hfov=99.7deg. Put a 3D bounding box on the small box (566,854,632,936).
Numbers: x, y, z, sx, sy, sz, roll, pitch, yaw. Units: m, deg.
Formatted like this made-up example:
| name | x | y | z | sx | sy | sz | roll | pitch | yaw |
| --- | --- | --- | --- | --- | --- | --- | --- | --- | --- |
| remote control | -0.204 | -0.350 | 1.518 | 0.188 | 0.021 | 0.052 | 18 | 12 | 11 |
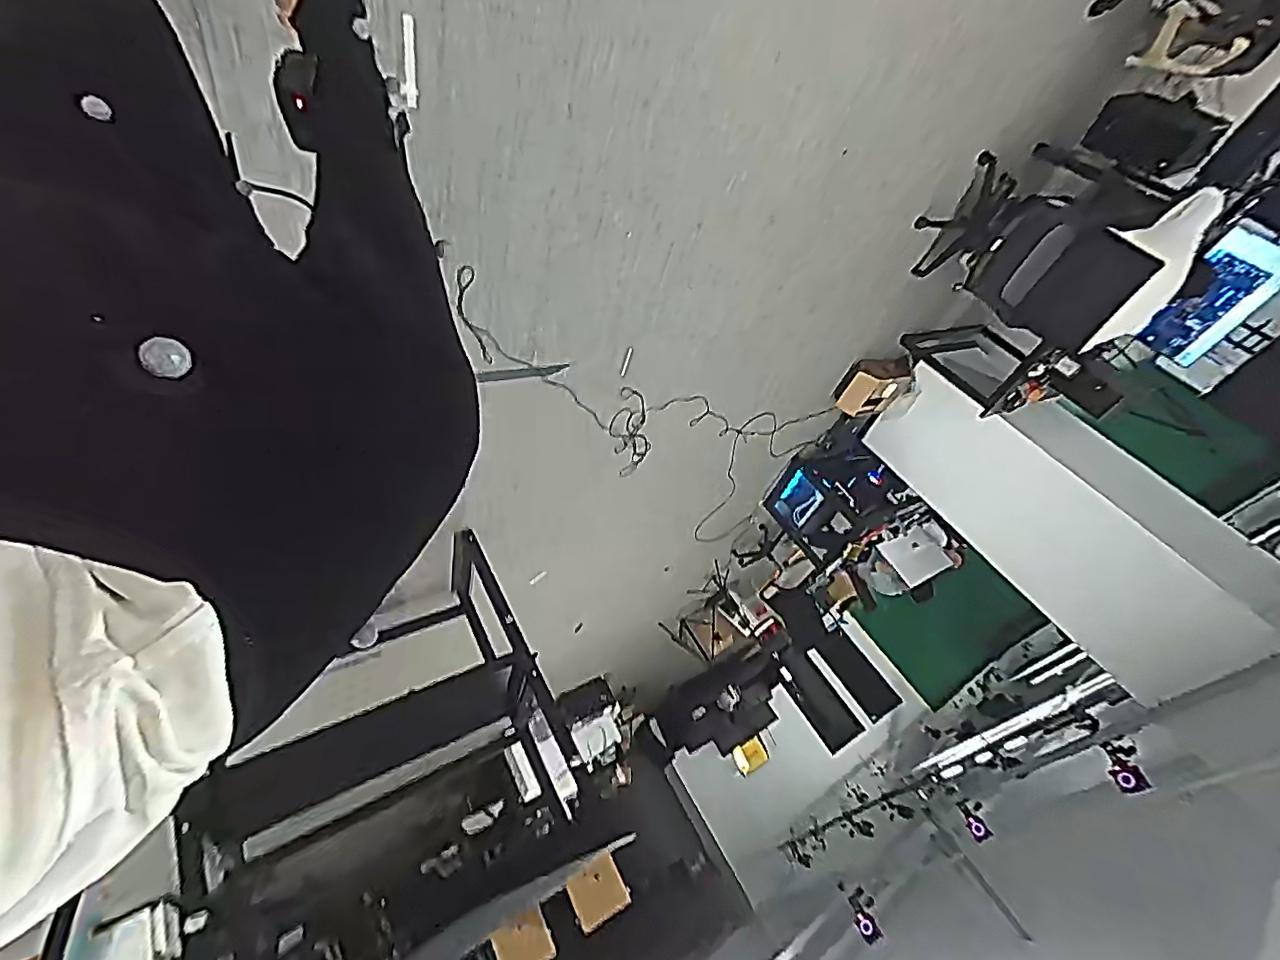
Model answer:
| name | x | y | z | sx | sy | sz | roll | pitch | yaw |
| --- | --- | --- | --- | --- | --- | --- | --- | --- | --- |
| small box | -0.147 | 1.429 | 1.865 | 0.168 | 0.176 | 0.179 | -20 | 145 | -25 |
